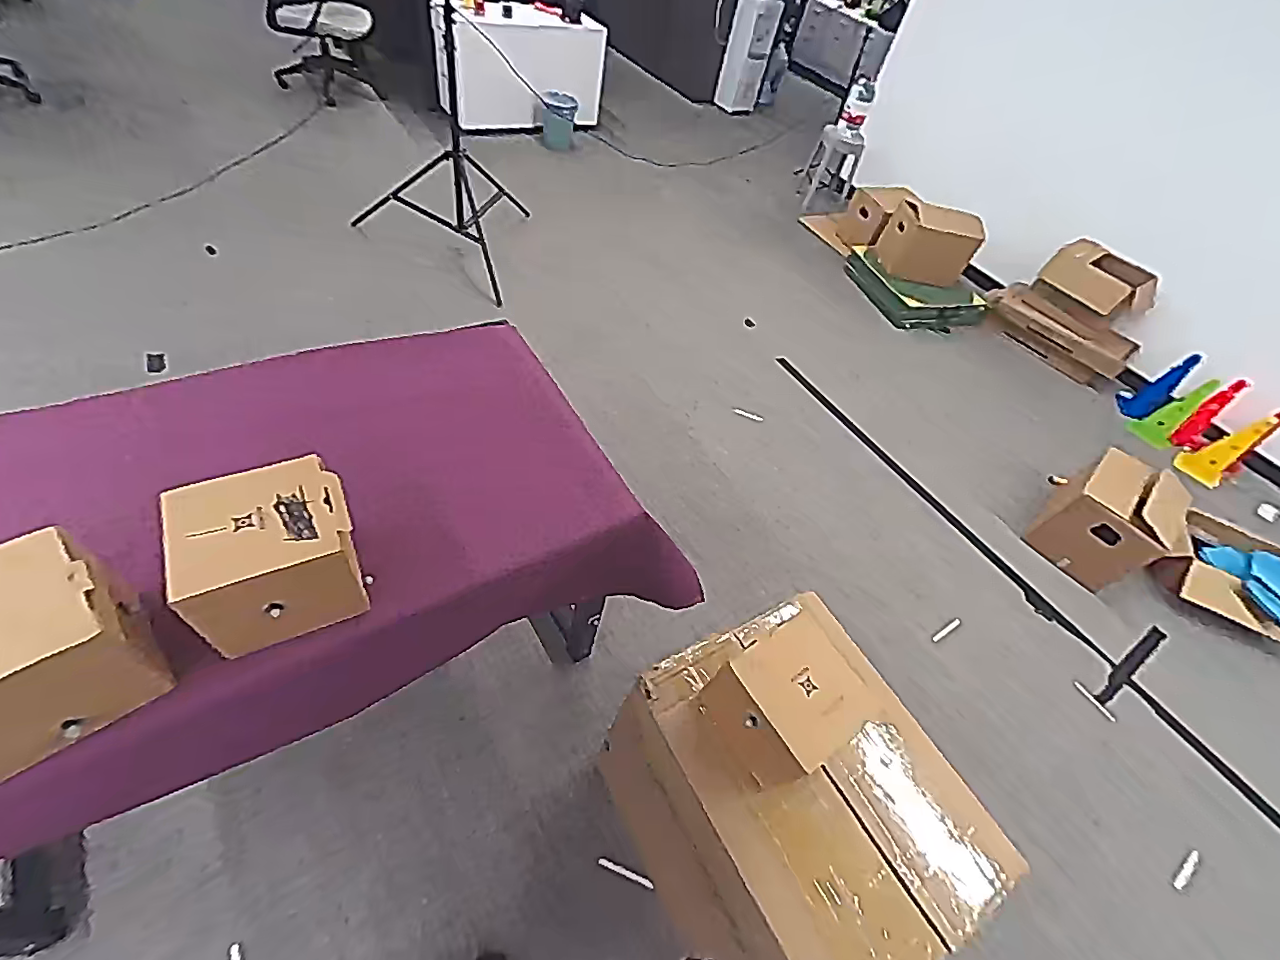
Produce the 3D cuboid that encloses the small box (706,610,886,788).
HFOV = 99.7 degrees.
[{"bbox_3d":[0.226,0.339,0.833,0.168,0.176,0.179,-24,62,-26],"label":"small box"}]

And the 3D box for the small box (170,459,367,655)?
[{"bbox_3d":[-0.481,0.103,0.723,0.179,0.176,0.168,-18,56,-25],"label":"small box"}]

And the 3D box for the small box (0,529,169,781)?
[{"bbox_3d":[-0.674,0.193,0.602,0.179,0.176,0.168,-31,63,-34],"label":"small box"}]
